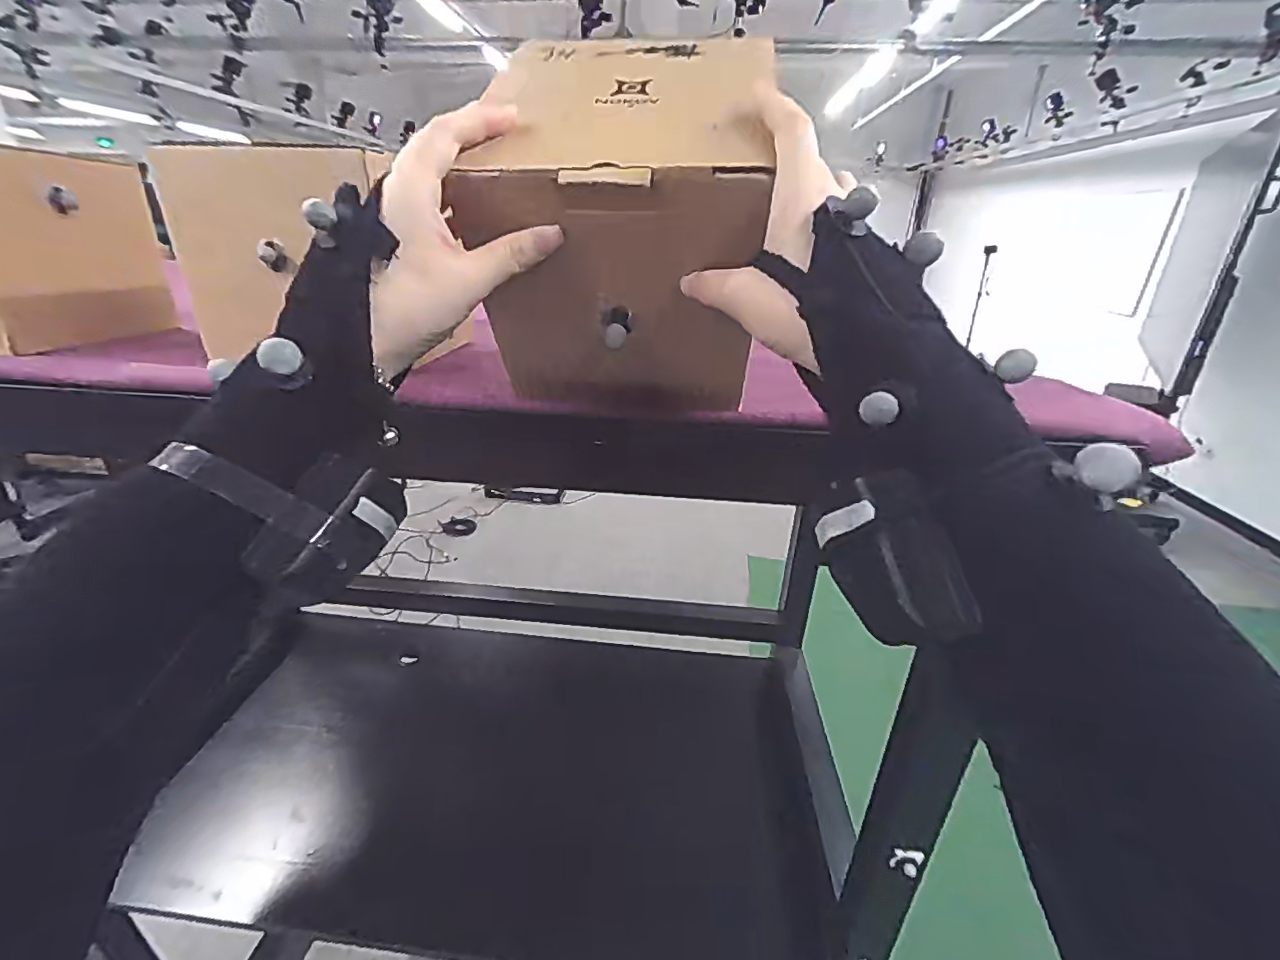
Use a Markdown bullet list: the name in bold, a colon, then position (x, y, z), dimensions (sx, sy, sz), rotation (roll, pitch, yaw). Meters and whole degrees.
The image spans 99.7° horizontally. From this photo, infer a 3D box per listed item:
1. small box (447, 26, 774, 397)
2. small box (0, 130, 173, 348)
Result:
- **small box**: position (-0.001, -0.175, 0.371), dimensions (0.168, 0.176, 0.179), rotation (4, 55, 7)
- **small box**: position (-0.597, -0.228, 0.511), dimensions (0.168, 0.176, 0.179), rotation (4, 24, 1)
